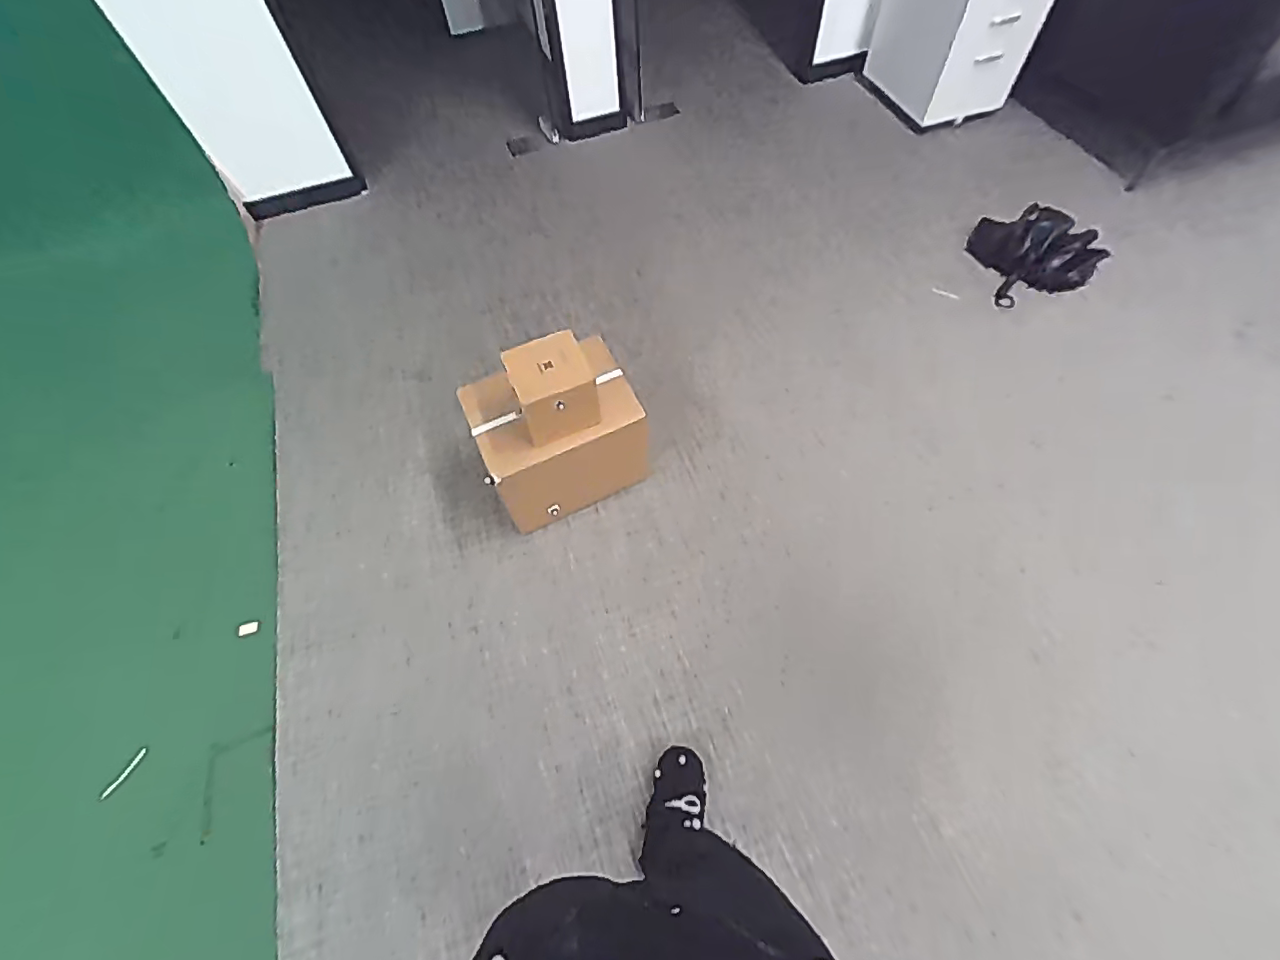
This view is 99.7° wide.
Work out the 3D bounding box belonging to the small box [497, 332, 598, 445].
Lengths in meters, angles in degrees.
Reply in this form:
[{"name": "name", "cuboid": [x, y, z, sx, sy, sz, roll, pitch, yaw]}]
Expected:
[{"name": "small box", "cuboid": [-0.209, -0.209, 1.264, 0.179, 0.176, 0.168, -22, 63, -11]}]
